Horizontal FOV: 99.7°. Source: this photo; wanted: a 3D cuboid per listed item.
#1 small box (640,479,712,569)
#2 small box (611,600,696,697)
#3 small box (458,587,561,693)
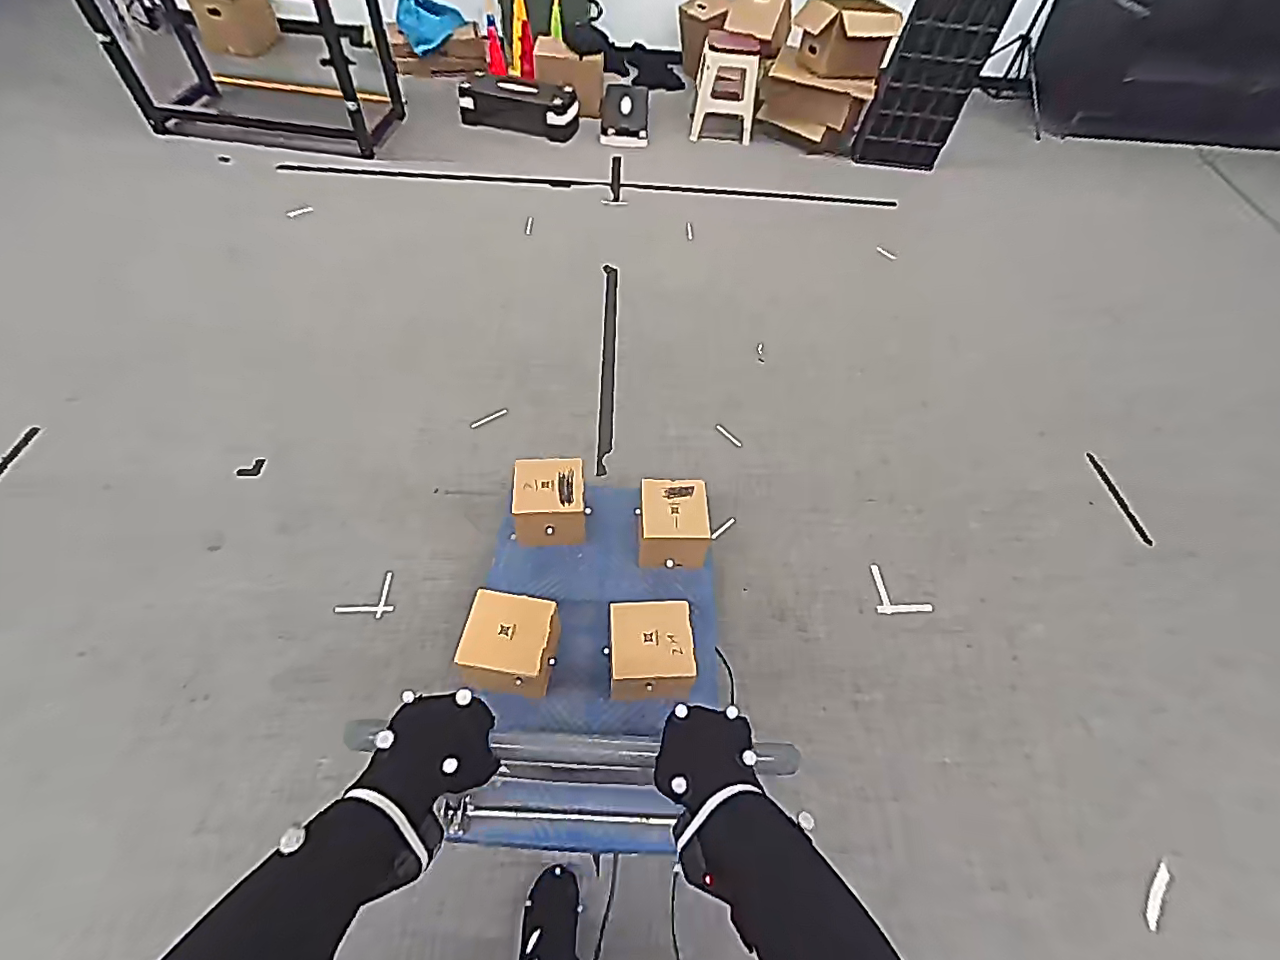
[{"bbox_3d":[0.087,0.117,1.420,0.168,0.176,0.179,1,55,-4],"label":"small box"},{"bbox_3d":[0.023,0.383,1.221,0.179,0.176,0.168,0,54,-5],"label":"small box"},{"bbox_3d":[-0.282,0.363,1.211,0.179,0.176,0.168,10,53,1],"label":"small box"}]
